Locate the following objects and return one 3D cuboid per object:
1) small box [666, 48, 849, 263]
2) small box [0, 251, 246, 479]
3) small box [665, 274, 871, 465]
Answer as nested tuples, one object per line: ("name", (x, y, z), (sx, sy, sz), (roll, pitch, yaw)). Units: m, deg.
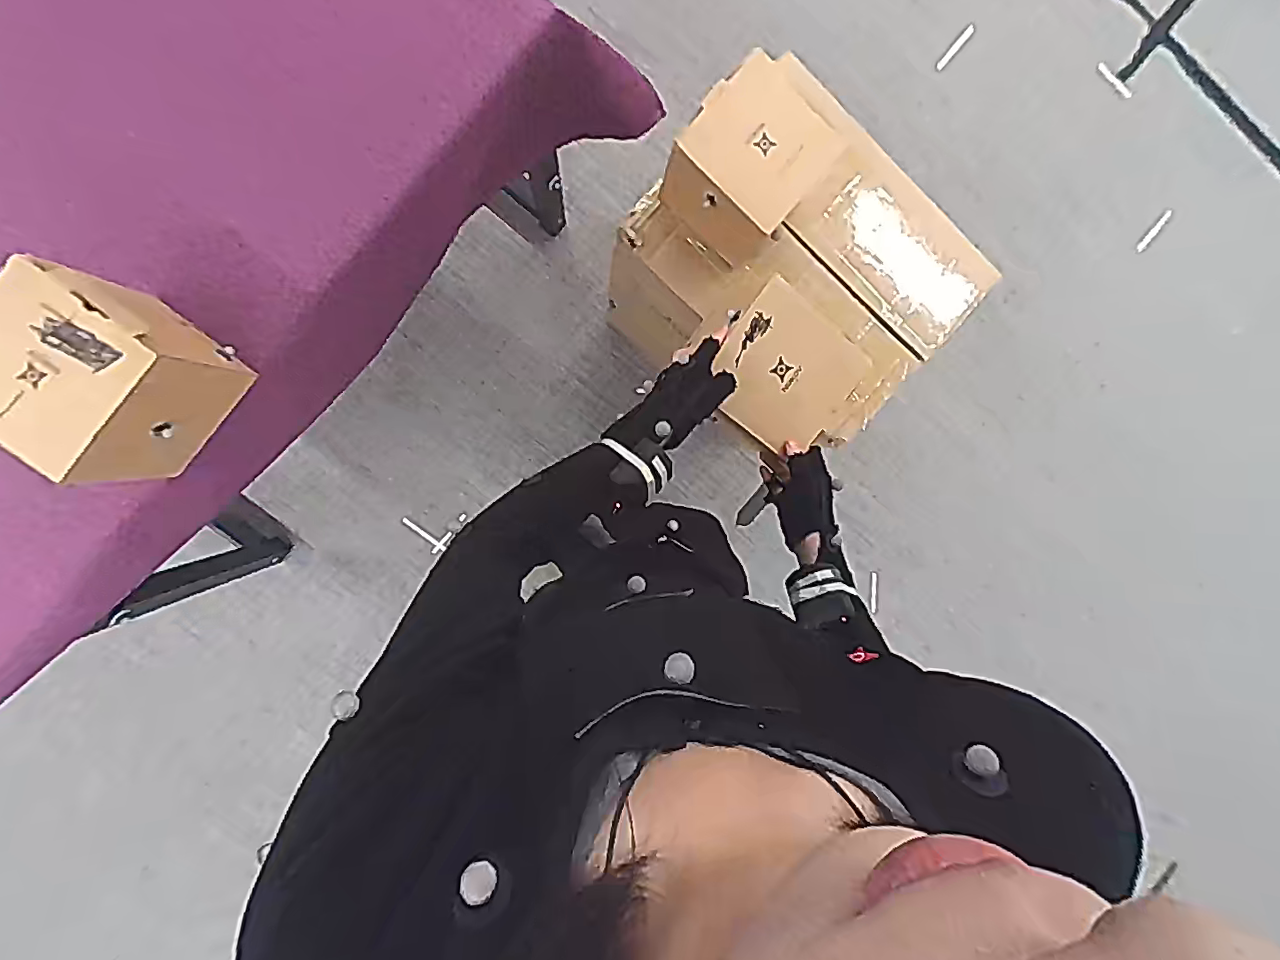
("small box", (0.156, -0.451, 0.788), (0.179, 0.176, 0.168), (41, 91, -7))
("small box", (-0.615, -0.122, 0.632), (0.168, 0.176, 0.179), (39, 90, -5))
("small box", (0.159, -0.148, 0.728), (0.179, 0.176, 0.168), (34, 95, -16))
